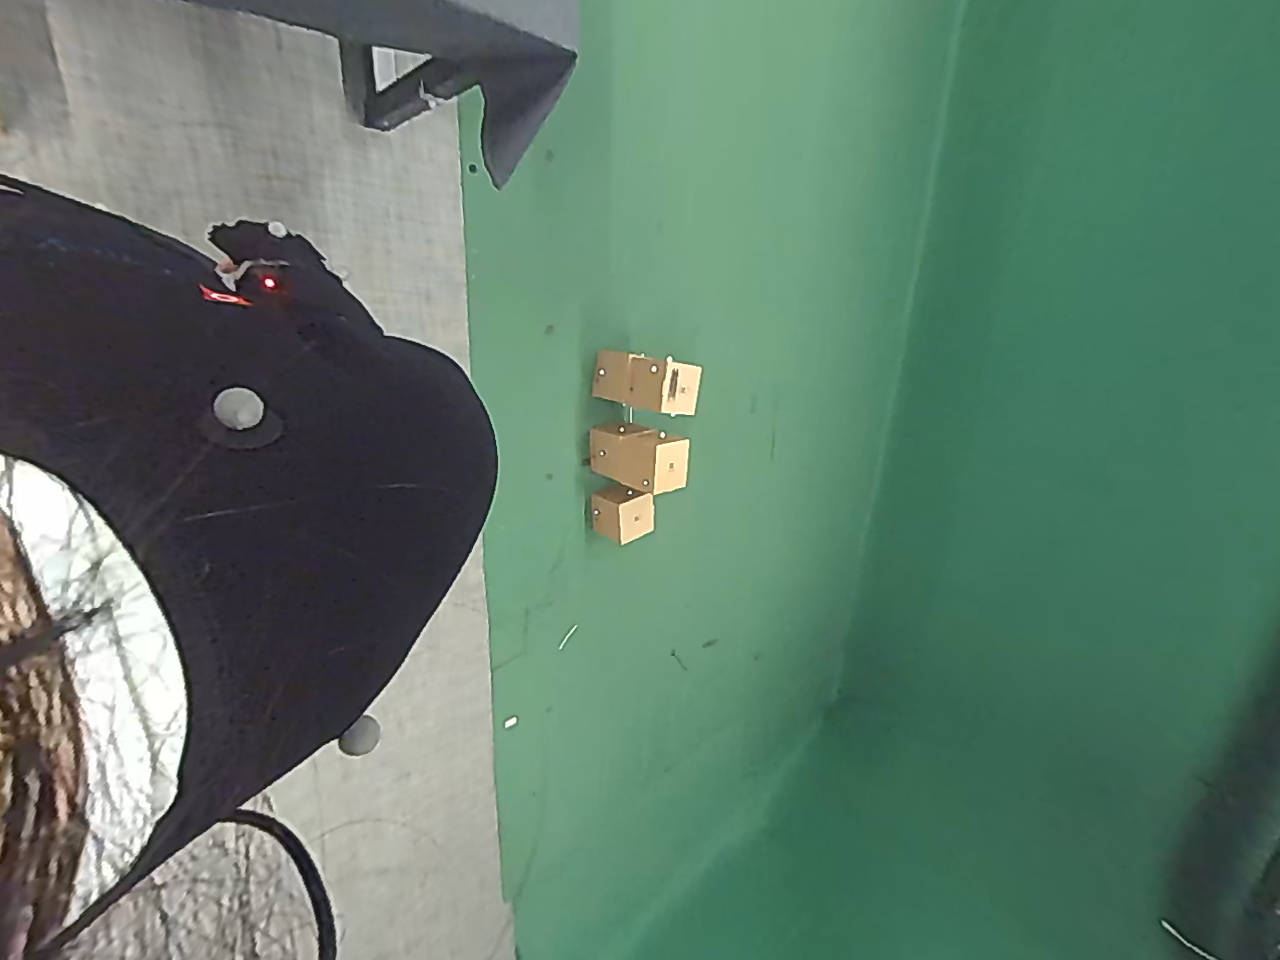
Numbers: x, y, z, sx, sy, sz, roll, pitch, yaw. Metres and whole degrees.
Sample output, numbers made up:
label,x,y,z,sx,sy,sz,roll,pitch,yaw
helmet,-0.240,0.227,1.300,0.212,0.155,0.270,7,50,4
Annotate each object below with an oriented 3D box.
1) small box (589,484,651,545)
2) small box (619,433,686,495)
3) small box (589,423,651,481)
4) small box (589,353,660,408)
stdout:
label,x,y,z,sx,sy,sz,roll,pitch,yaw
small box,-0.075,0.125,2.078,0.179,0.176,0.168,-21,118,-40
small box,0.041,-0.062,1.889,0.168,0.176,0.179,-14,114,-43
small box,-0.077,-0.107,1.993,0.179,0.176,0.168,-18,116,-42
small box,-0.056,-0.357,1.926,0.179,0.176,0.168,-1,103,-45
